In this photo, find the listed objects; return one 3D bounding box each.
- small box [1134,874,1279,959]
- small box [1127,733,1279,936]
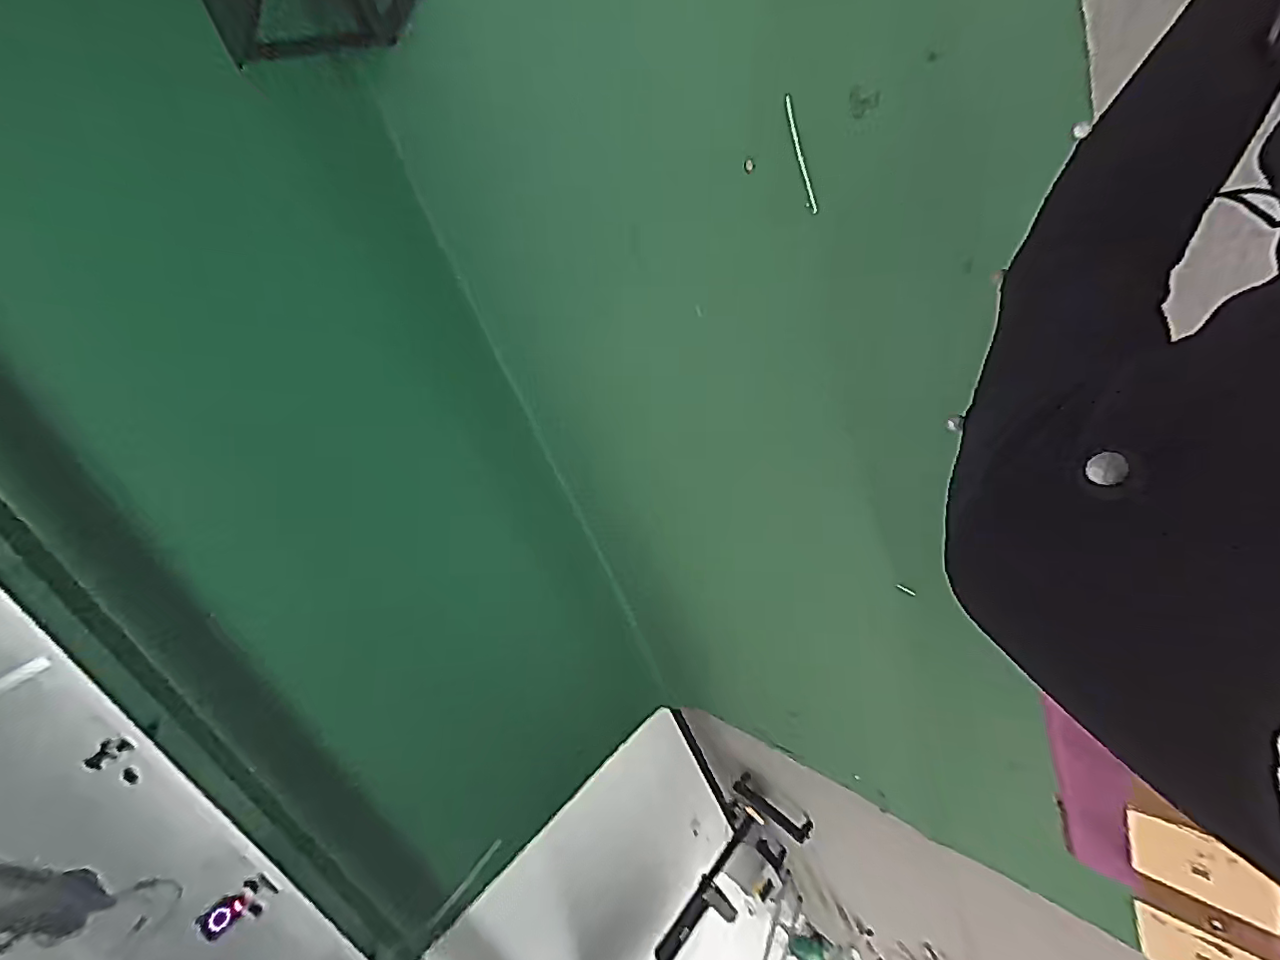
[{"bbox_3d":[1.013,0.783,0.962,0.168,0.176,0.179,2,121,52],"label":"small box"},{"bbox_3d":[0.915,0.557,0.872,0.168,0.176,0.179,5,125,51],"label":"small box"}]
